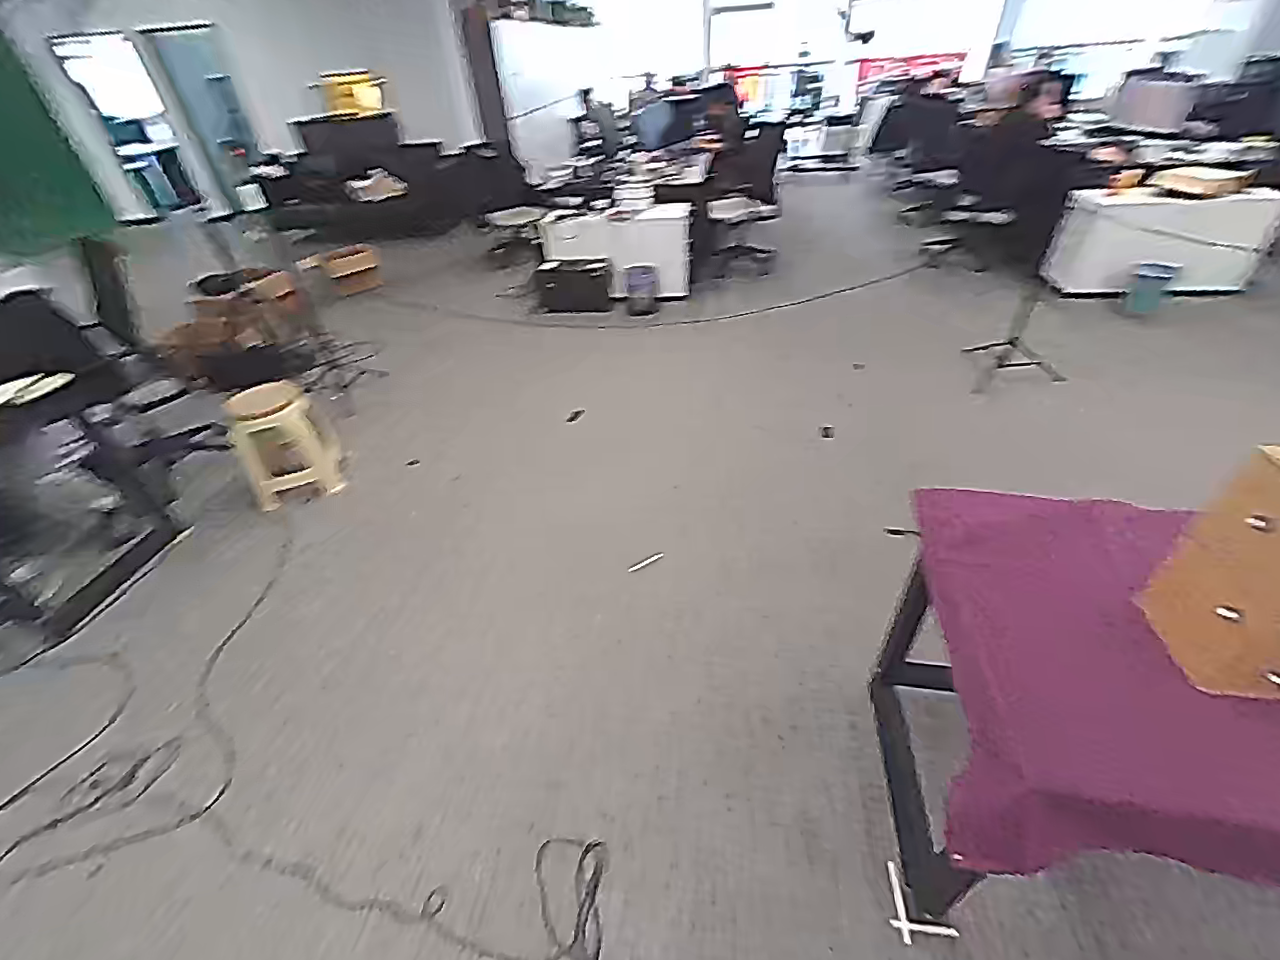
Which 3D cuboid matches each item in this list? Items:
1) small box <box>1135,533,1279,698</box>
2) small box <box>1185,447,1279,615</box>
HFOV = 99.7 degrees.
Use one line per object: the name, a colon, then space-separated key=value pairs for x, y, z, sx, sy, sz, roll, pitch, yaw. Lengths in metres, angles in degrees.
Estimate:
small box: x=0.918 y=0.203 z=0.819 sx=0.168 sy=0.176 sz=0.179 roll=2 pitch=40 yaw=8
small box: x=0.908 y=0.075 z=0.717 sx=0.168 sy=0.176 sz=0.179 roll=2 pitch=39 yaw=7
